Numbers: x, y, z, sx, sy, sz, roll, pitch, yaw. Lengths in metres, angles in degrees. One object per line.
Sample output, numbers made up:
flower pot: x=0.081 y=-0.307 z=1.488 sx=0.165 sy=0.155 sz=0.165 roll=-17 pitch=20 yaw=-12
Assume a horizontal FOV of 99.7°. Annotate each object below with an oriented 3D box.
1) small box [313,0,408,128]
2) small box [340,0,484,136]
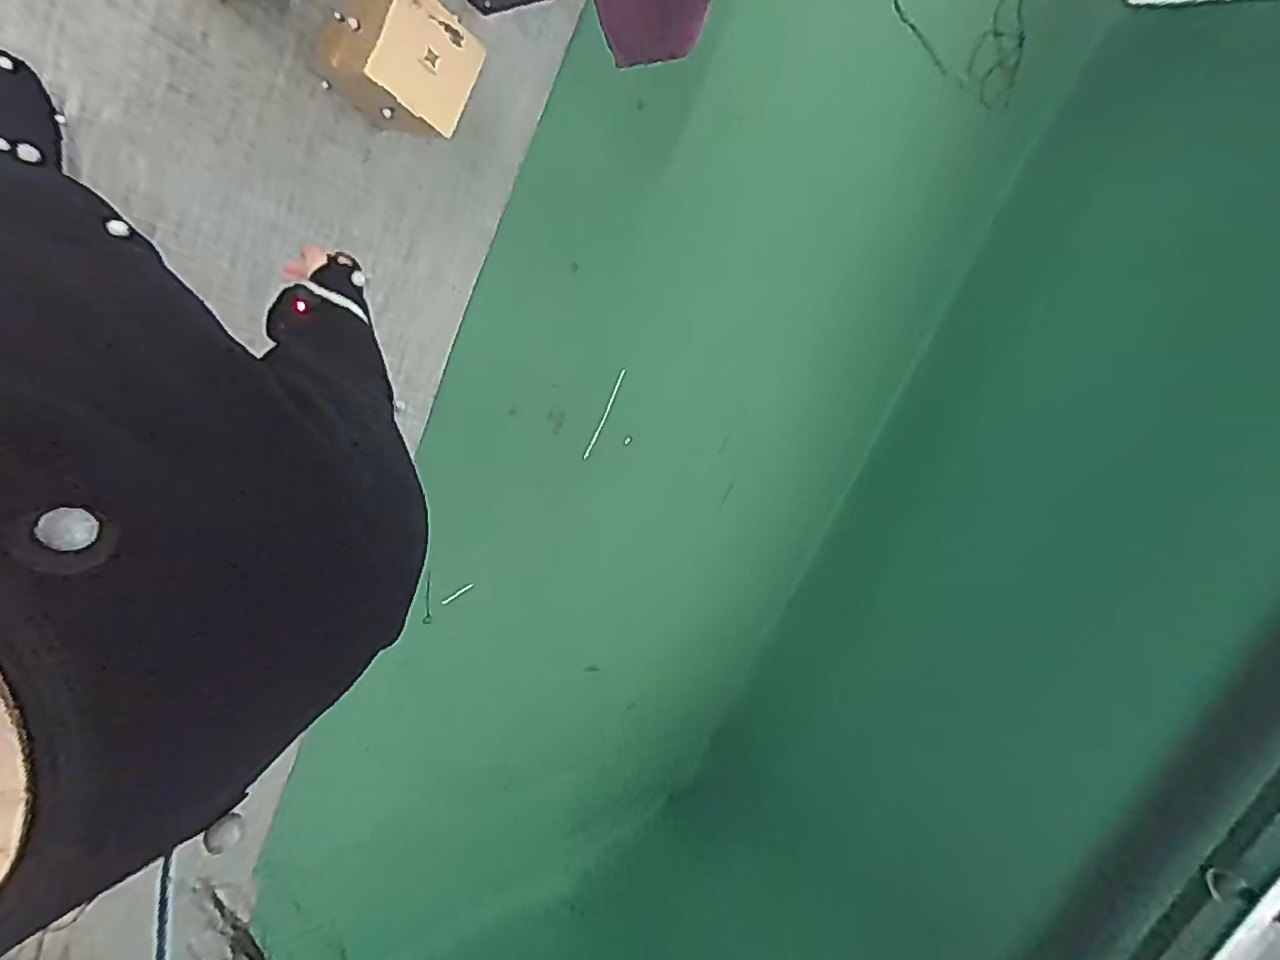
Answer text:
small box: x=-0.531 y=-0.852 z=1.094 sx=0.168 sy=0.176 sz=0.179 roll=25 pitch=96 yaw=-51
small box: x=-0.425 y=-0.774 z=0.994 sx=0.168 sy=0.176 sz=0.179 roll=19 pitch=102 yaw=-50
